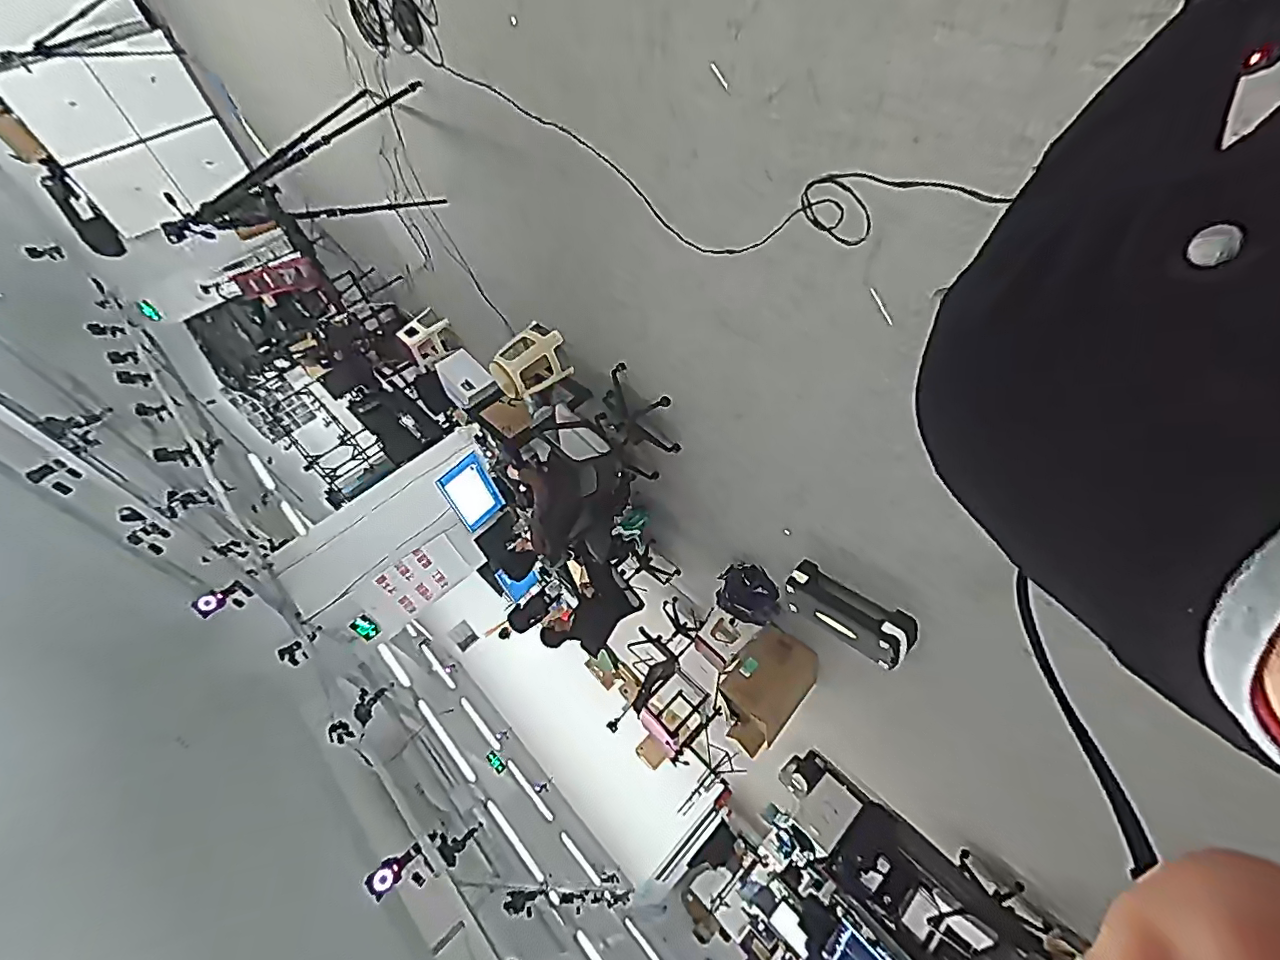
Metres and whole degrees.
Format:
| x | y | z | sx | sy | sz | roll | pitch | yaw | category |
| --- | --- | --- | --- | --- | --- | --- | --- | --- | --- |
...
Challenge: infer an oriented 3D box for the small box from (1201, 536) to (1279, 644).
| x | y | z | sx | sy | sz | roll | pitch | yaw | category |
| --- | --- | --- | --- | --- | --- | --- | --- | --- | --- |
| 1.600 | 0.275 | 1.368 | 0.168 | 0.176 | 0.179 | 38 | 155 | 26 | small box |
